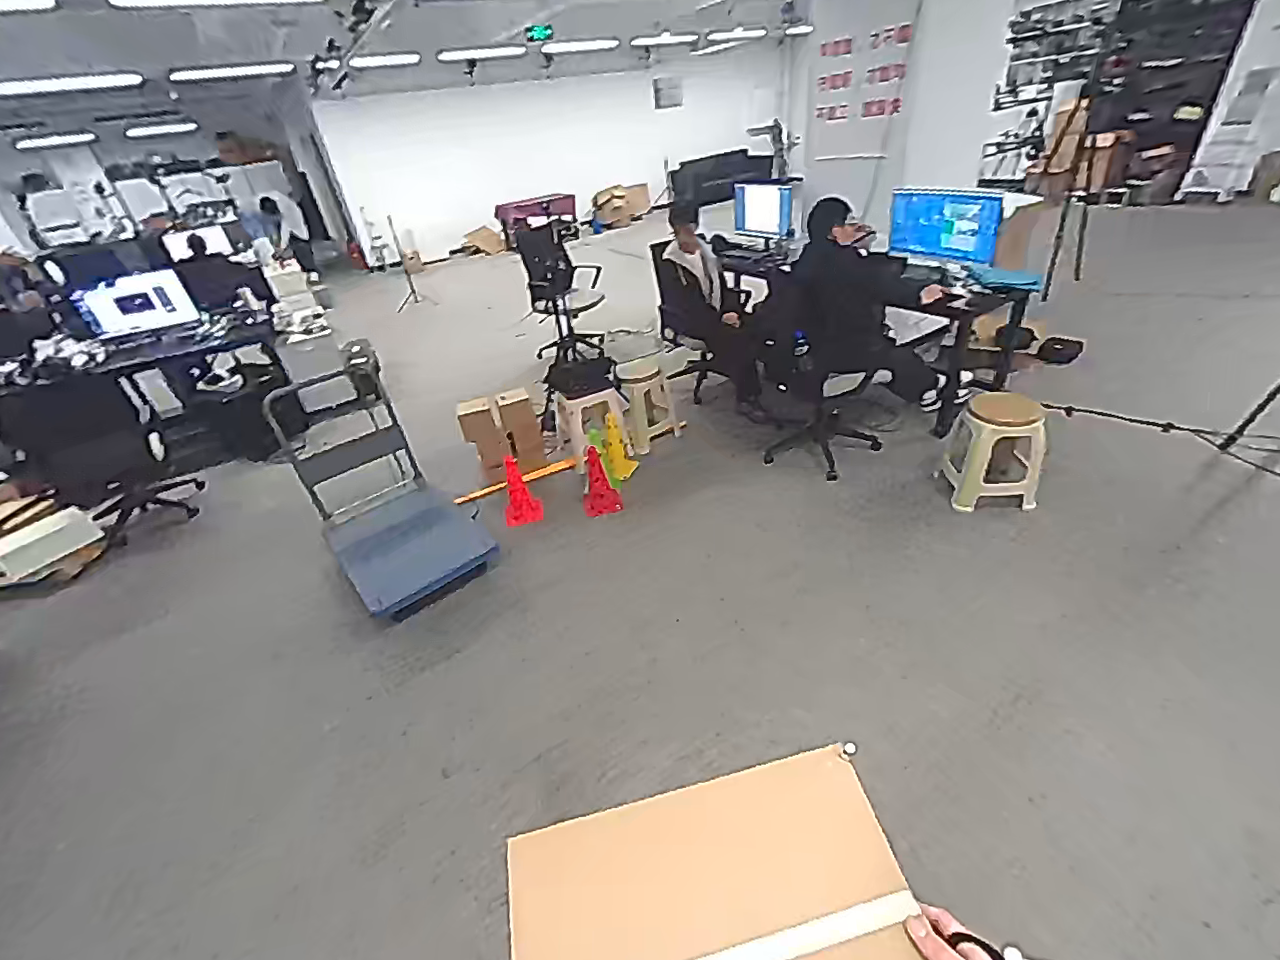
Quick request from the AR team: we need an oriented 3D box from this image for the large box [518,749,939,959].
[{"bbox_3d":[0.099,0.580,0.637,0.408,0.320,0.320,-13,47,-6],"label":"large box"}]
